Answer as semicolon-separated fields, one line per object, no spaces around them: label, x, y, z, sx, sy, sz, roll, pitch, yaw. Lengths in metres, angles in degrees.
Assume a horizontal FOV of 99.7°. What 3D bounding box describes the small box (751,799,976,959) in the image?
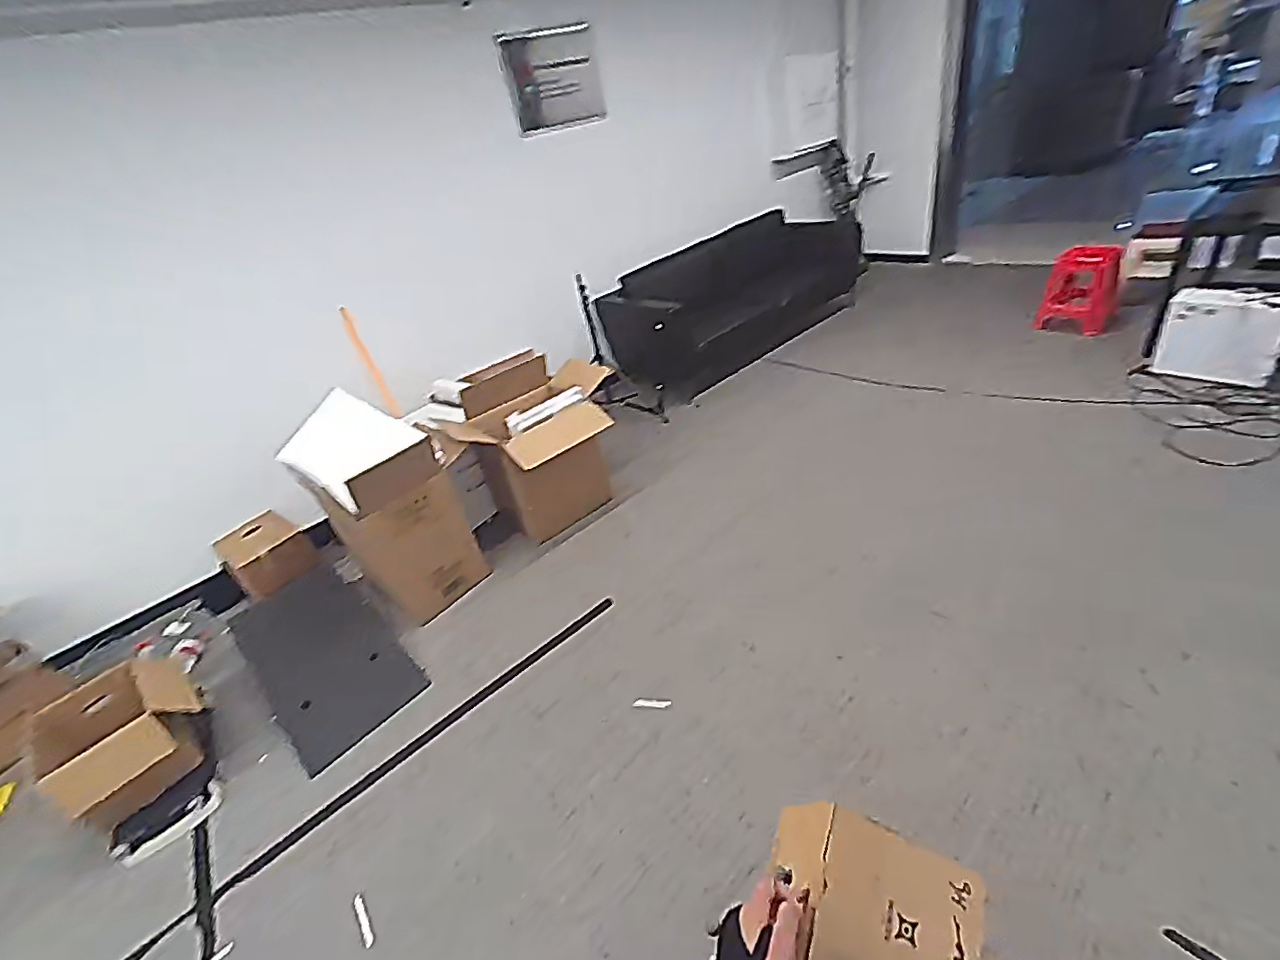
small box;0.246;0.498;0.621;0.179;0.176;0.168;23;56;6
